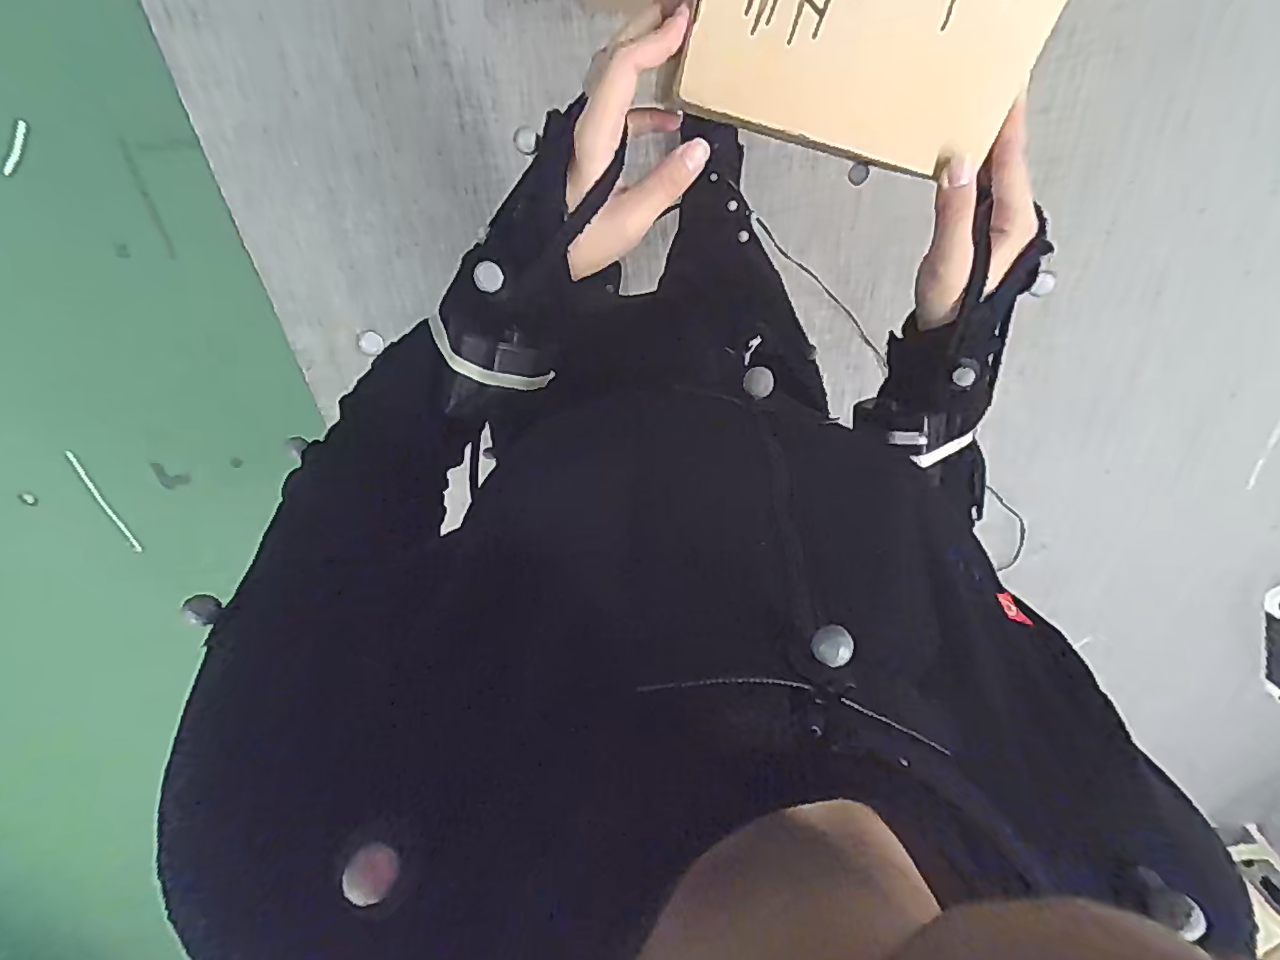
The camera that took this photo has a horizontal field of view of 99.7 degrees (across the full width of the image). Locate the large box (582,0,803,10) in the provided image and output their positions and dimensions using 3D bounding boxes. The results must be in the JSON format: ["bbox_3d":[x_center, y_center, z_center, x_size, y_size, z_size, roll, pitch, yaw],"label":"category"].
[{"bbox_3d":[0.101,-0.895,0.754,0.408,0.320,0.320,-3,122,-3],"label":"large box"}]
